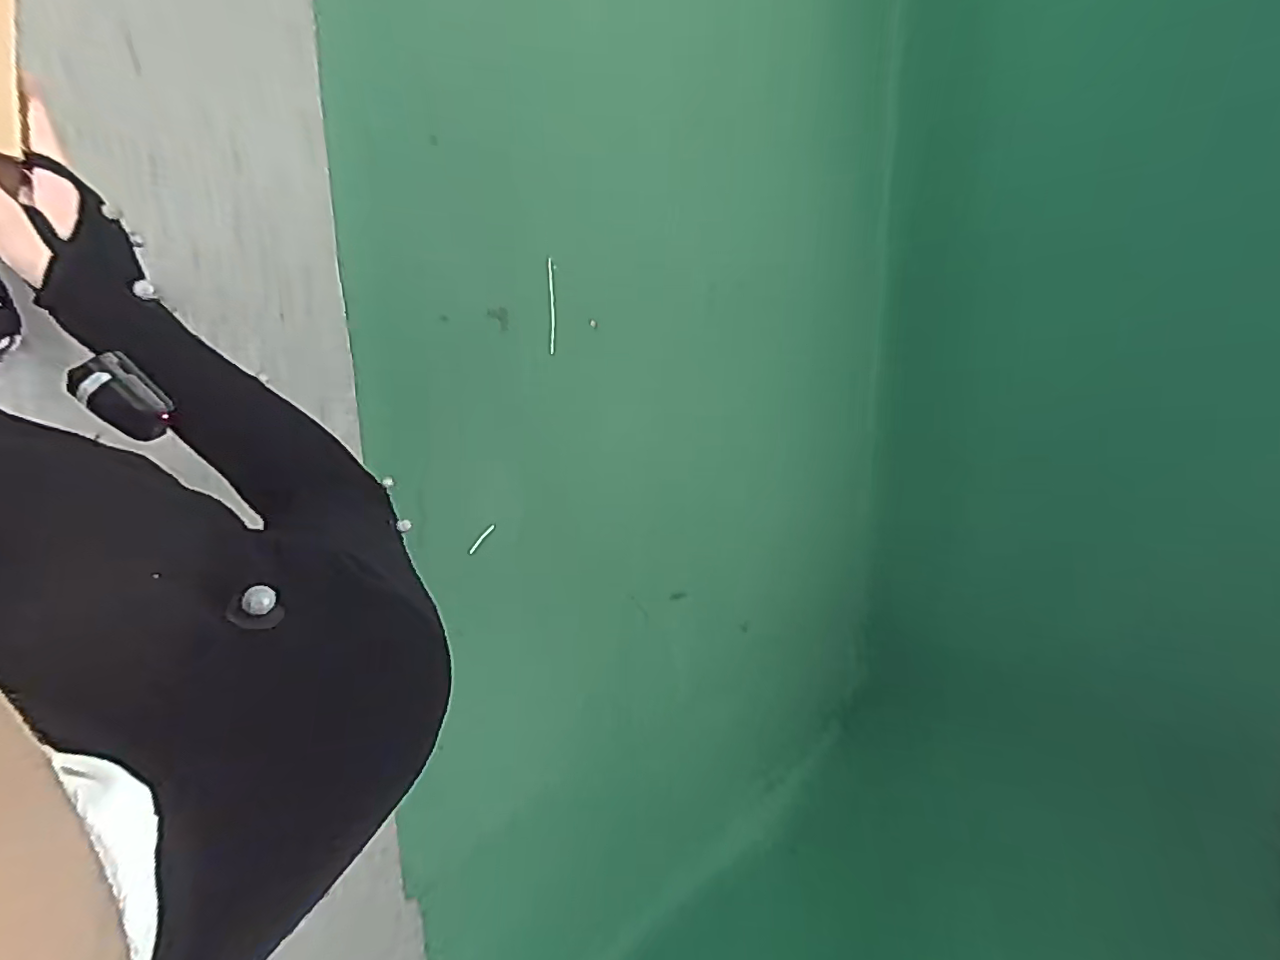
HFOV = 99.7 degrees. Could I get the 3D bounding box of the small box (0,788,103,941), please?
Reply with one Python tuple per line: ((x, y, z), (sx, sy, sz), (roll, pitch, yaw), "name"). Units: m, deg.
((-1.234, 0.778, 1.106), (0.179, 0.176, 0.168), (-11, 104, -41), "small box")
